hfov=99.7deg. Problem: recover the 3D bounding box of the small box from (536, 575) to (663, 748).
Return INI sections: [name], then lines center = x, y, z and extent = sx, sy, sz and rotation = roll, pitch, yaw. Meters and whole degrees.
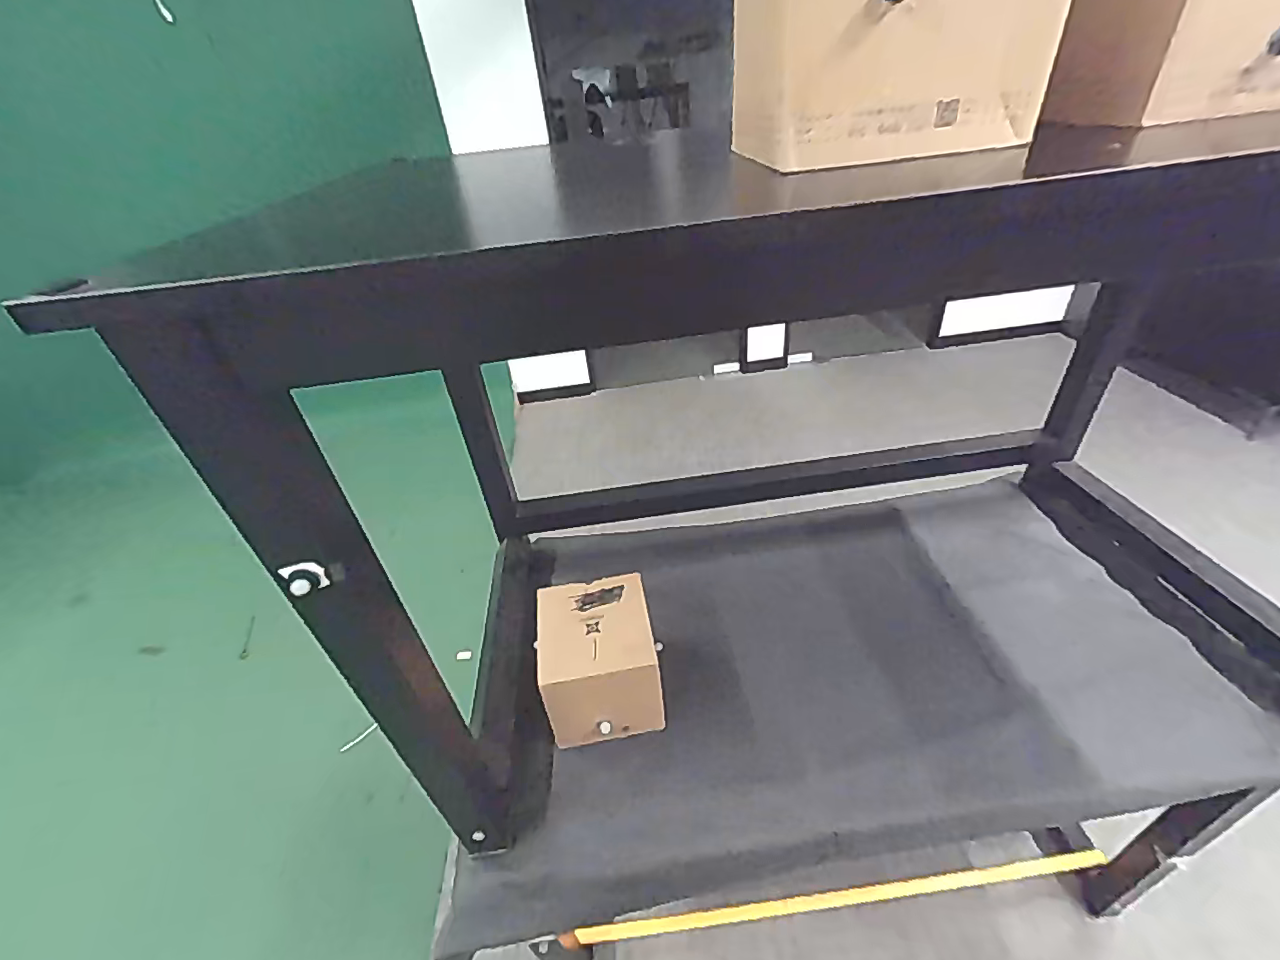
[small box]
center = -0.062, 0.278, 0.835
extent = 0.168, 0.176, 0.179
rotation = -10, 36, -3
